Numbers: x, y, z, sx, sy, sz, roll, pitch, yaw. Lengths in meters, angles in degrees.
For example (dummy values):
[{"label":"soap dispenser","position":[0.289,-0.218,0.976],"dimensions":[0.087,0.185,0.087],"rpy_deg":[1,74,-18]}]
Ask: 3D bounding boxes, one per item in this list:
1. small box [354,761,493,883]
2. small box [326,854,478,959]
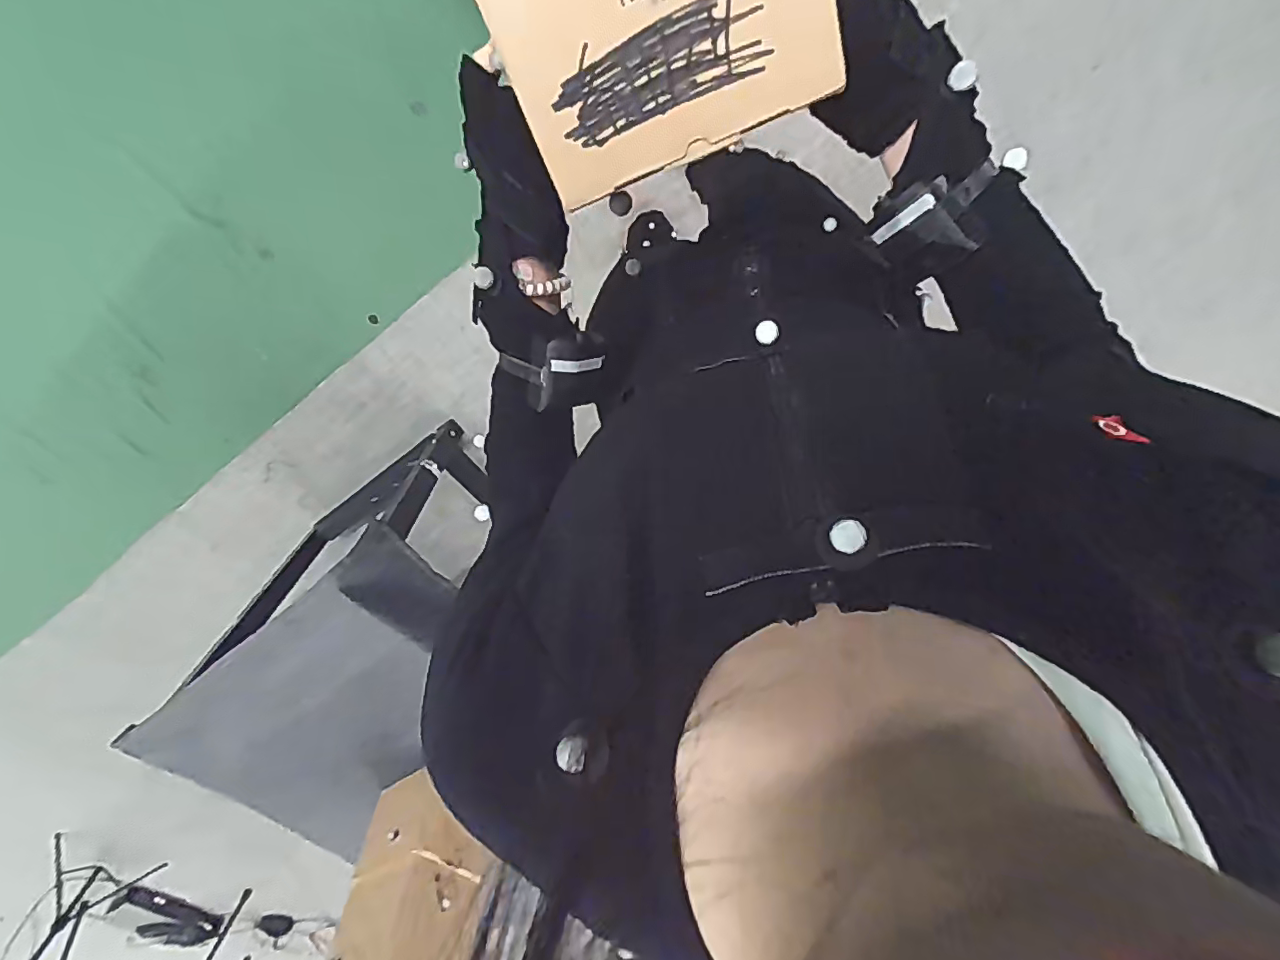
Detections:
[{"label":"small box","position":[-0.407,0.685,1.056],"dimensions":[0.179,0.176,0.168],"rpy_deg":[-33,116,16]},{"label":"small box","position":[-0.404,0.784,0.923],"dimensions":[0.179,0.176,0.168],"rpy_deg":[-35,116,15]}]
